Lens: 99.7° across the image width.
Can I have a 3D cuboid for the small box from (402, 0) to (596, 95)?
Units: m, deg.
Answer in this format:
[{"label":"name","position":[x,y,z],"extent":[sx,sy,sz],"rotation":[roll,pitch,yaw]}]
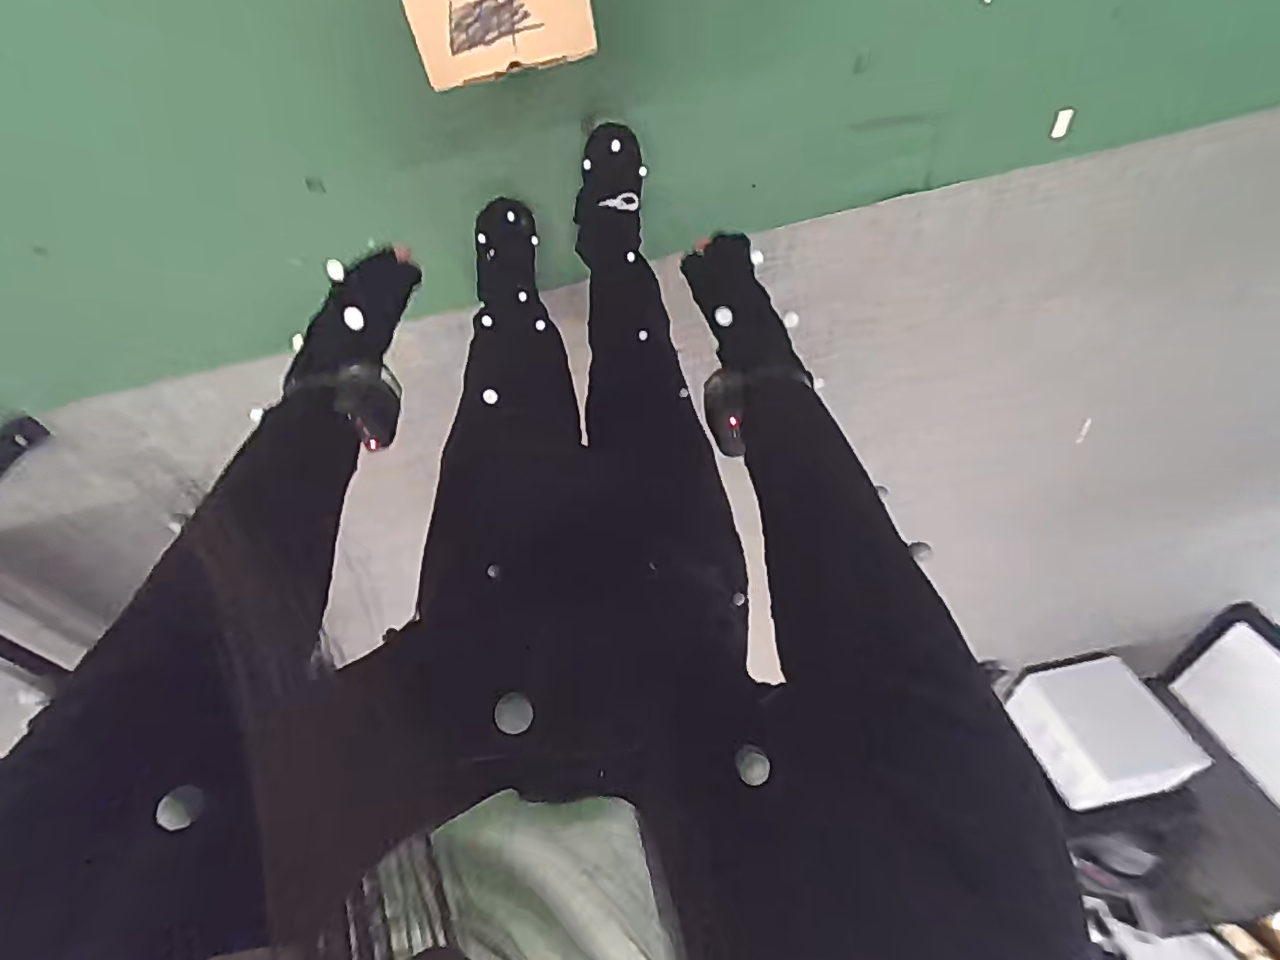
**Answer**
[{"label":"small box","position":[-0.144,-0.504,0.522],"extent":[0.168,0.176,0.179],"rotation":[-13,132,0]}]
